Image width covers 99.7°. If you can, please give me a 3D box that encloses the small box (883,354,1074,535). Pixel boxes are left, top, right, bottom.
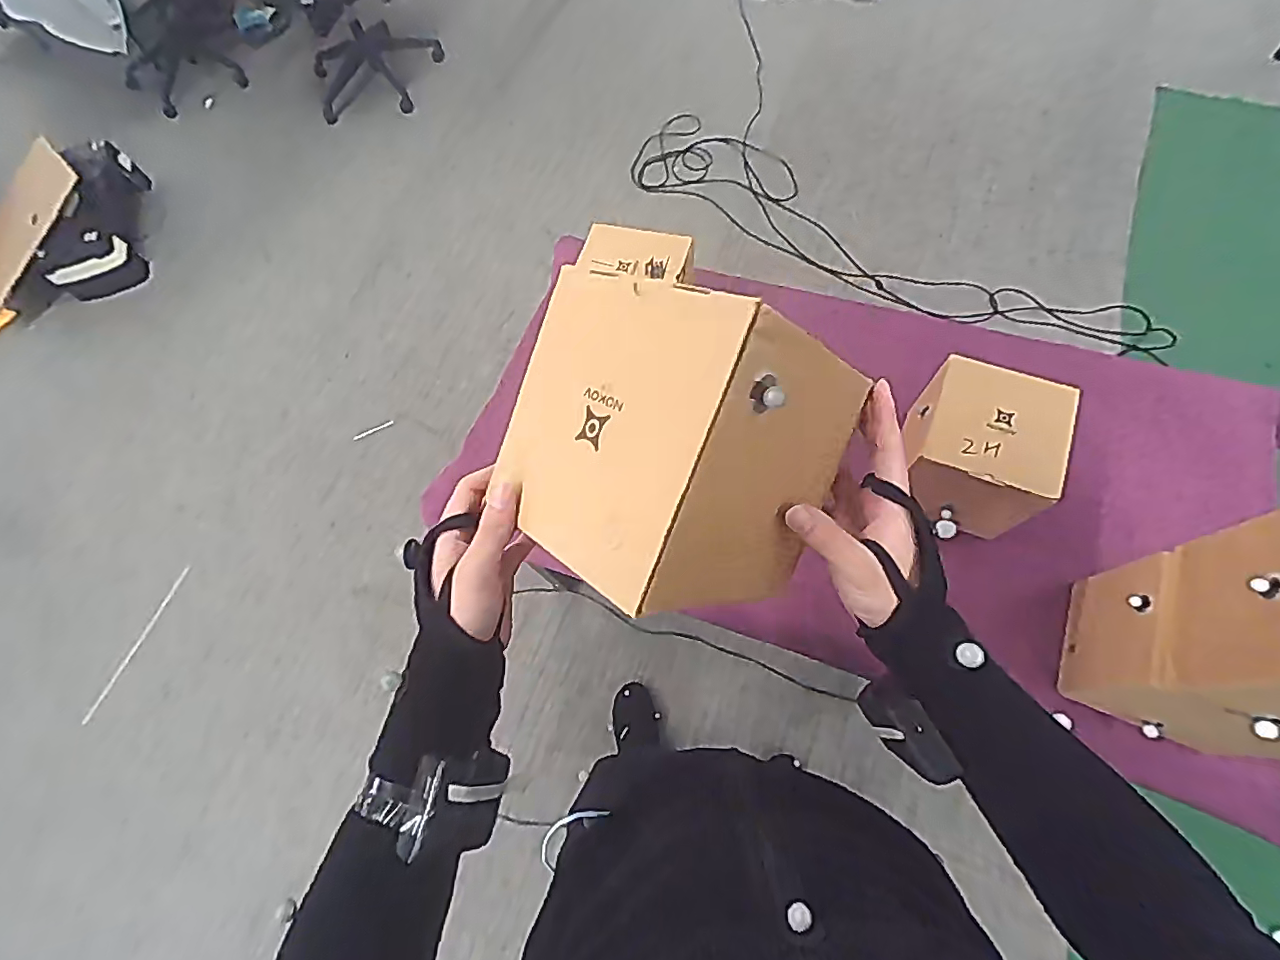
[{"bbox_3d":[0.476,-0.045,0.784,0.168,0.176,0.179,22,71,14],"label":"small box"}]

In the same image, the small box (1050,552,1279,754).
[{"bbox_3d":[0.656,0.212,0.660,0.179,0.176,0.168,21,70,13],"label":"small box"}]

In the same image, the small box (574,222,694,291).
[{"bbox_3d":[-0.011,-0.309,0.936,0.179,0.176,0.168,14,70,11],"label":"small box"}]

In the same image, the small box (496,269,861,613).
[{"bbox_3d":[0.029,-0.027,0.387,0.168,0.176,0.179,28,103,42],"label":"small box"}]
